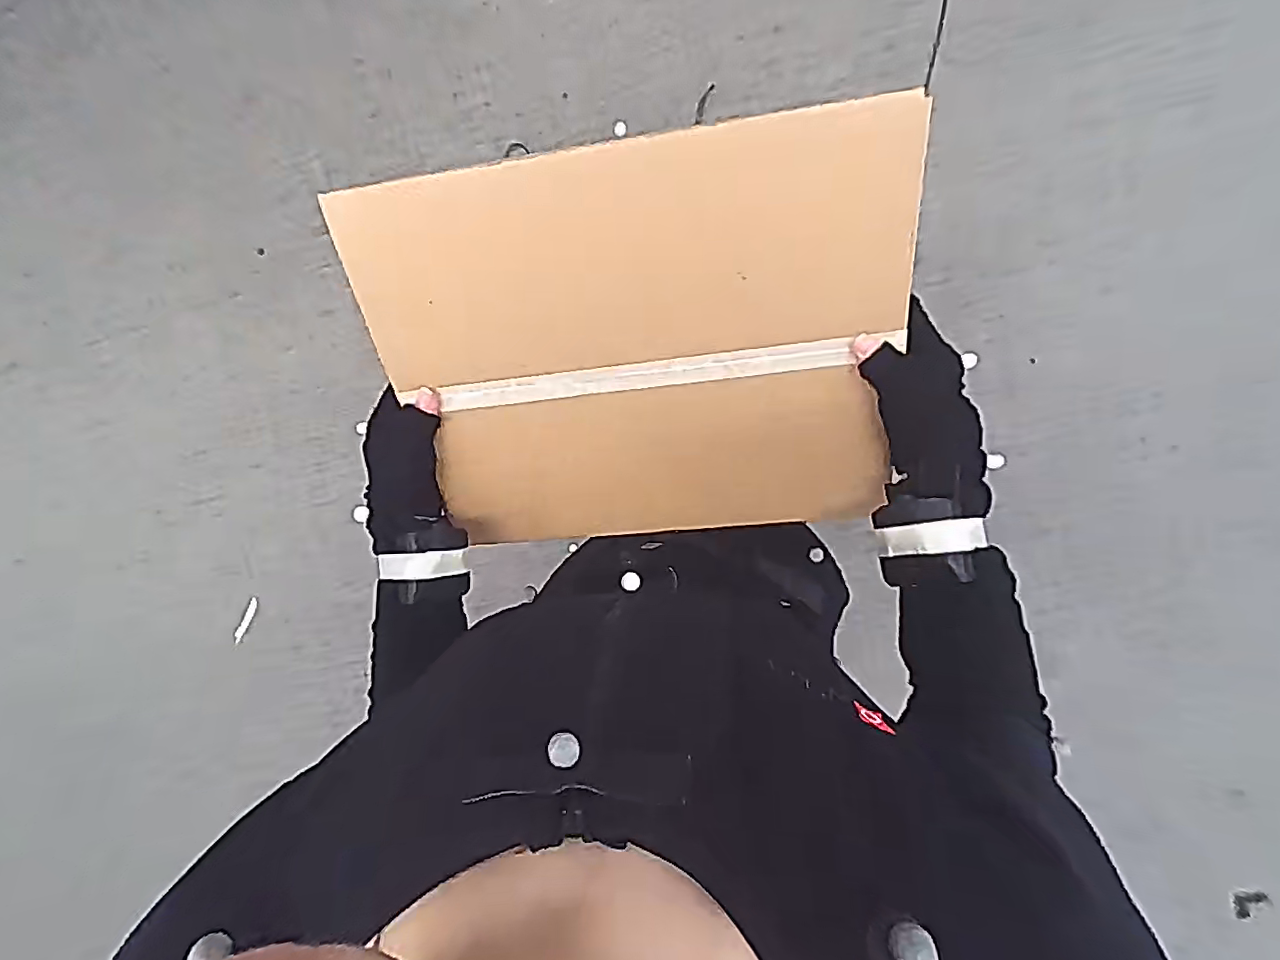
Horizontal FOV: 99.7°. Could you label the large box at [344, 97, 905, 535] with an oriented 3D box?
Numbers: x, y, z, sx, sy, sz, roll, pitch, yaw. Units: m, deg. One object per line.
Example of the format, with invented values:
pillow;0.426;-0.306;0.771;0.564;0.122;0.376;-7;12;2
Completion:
large box;0.010;-0.171;0.569;0.408;0.320;0.320;-5;121;8
